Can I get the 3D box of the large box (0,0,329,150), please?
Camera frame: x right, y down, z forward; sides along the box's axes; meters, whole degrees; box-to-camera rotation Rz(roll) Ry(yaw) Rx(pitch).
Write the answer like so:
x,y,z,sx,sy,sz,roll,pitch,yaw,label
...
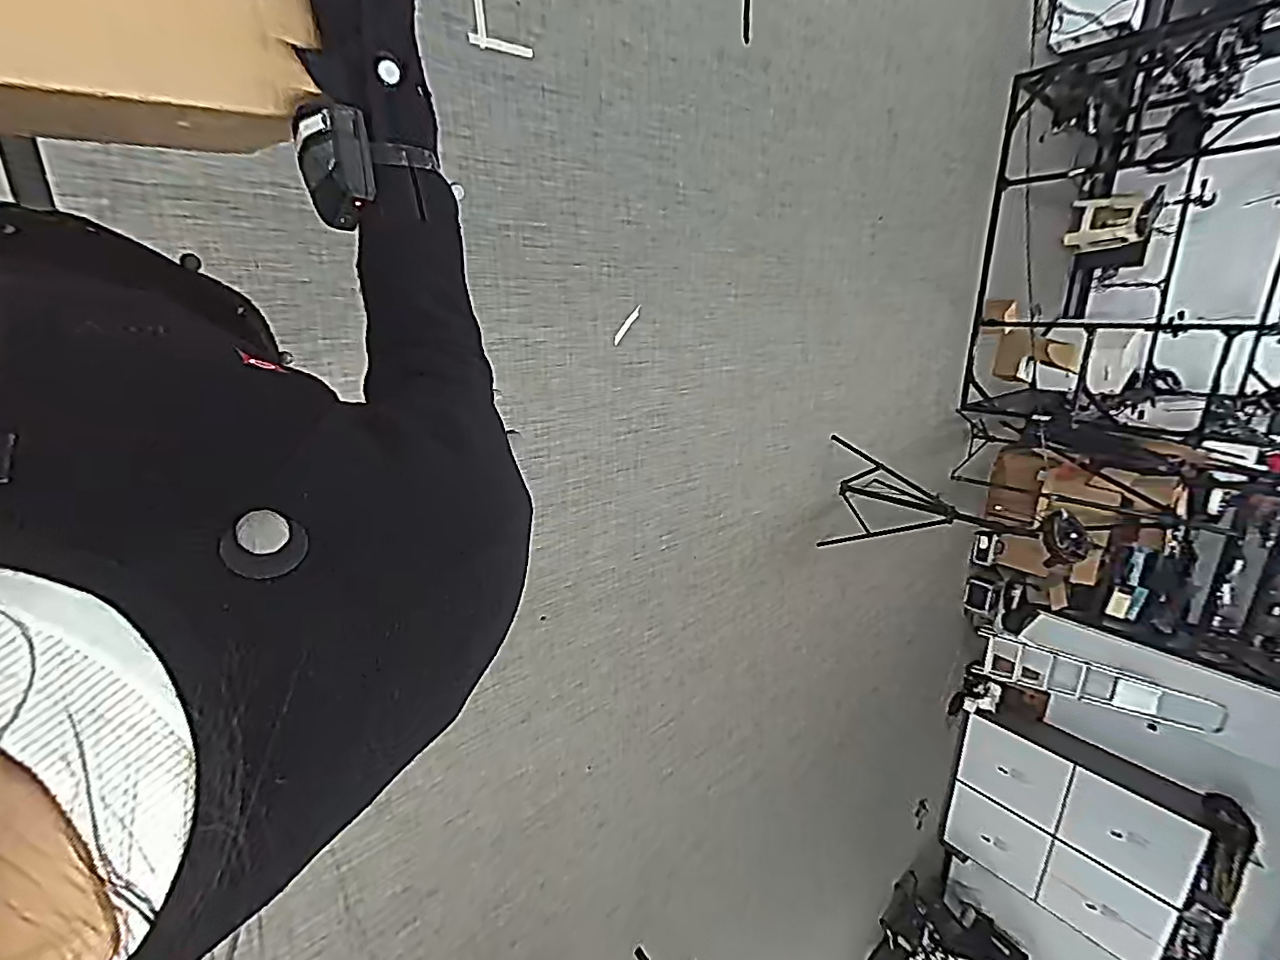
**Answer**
x,y,z,sx,sy,sz,roll,pitch,yaw,label
-0.466,-0.386,0.297,0.408,0.320,0.320,-21,124,-38,large box
